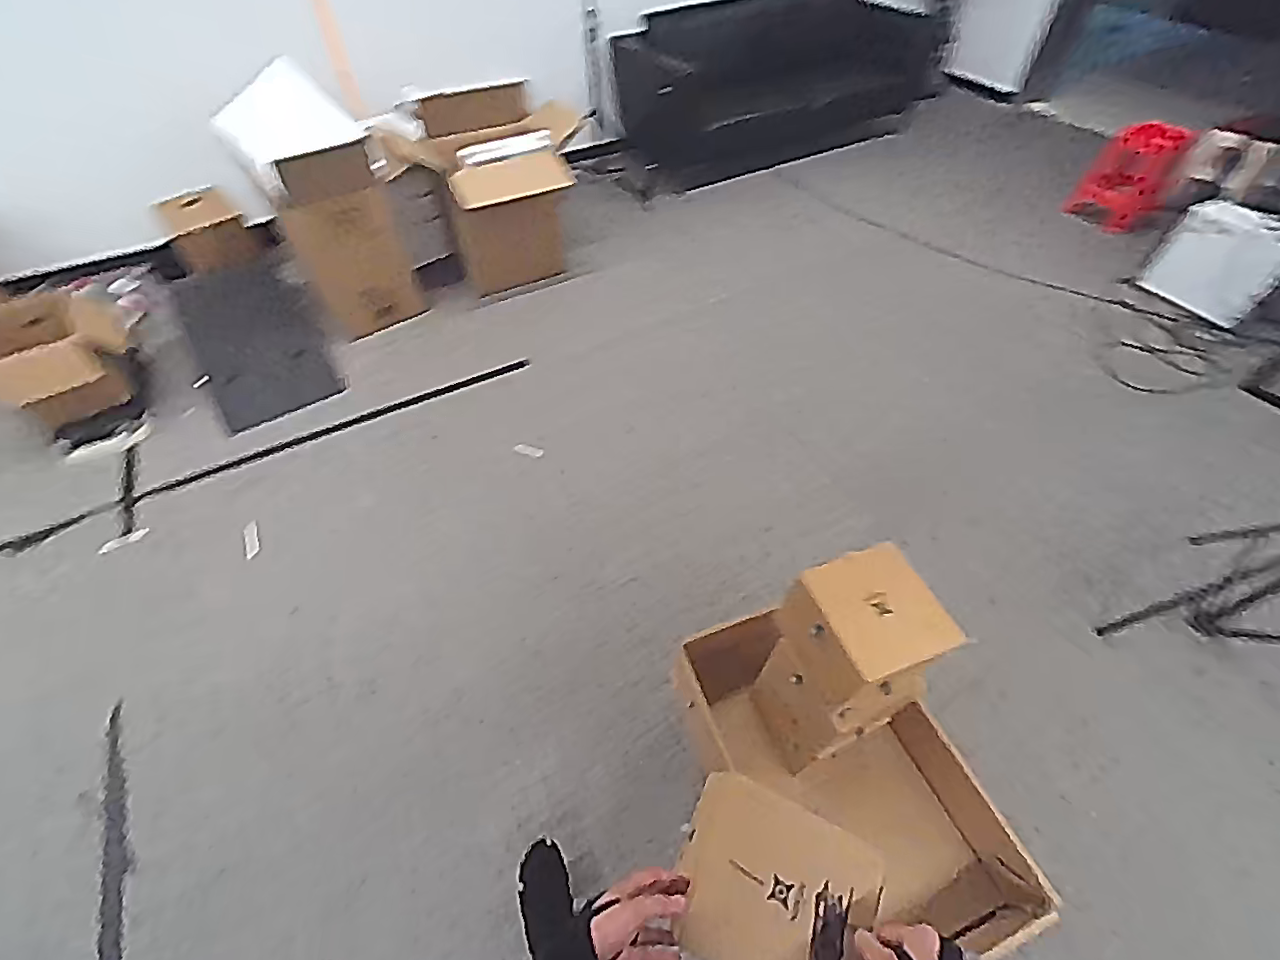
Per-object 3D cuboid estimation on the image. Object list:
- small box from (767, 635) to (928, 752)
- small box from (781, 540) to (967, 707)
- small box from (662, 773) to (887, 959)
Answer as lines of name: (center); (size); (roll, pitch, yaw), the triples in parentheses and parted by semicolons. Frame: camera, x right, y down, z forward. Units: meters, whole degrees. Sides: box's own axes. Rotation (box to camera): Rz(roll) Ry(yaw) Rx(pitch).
small box: (0.346, 0.344, 0.940); (0.179, 0.176, 0.168); (-18, 54, -15)
small box: (0.340, 0.226, 0.826); (0.168, 0.176, 0.179); (-16, 54, -13)
small box: (0.140, 0.453, 0.611); (0.179, 0.176, 0.168); (25, 62, 9)
